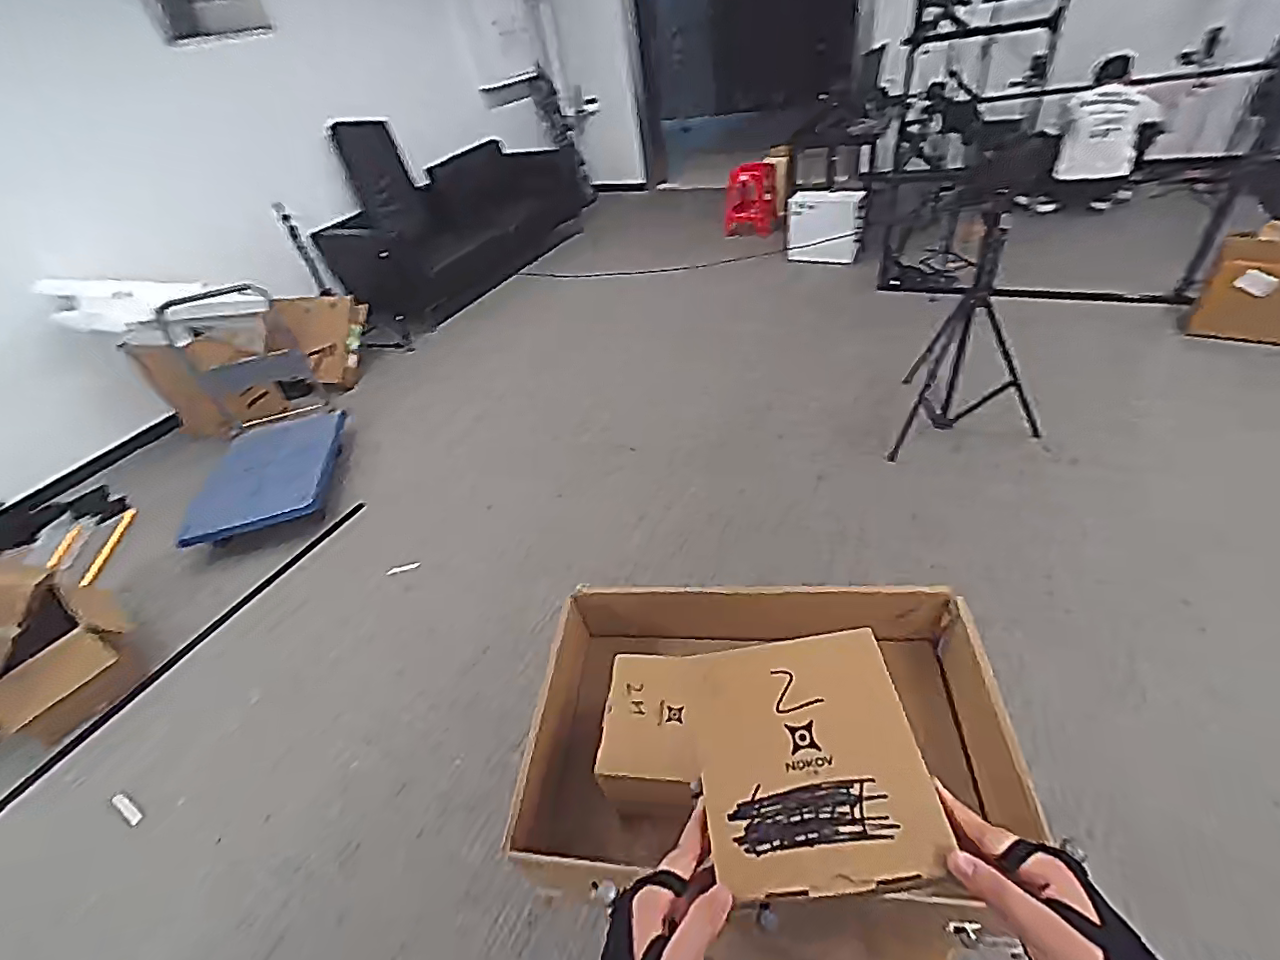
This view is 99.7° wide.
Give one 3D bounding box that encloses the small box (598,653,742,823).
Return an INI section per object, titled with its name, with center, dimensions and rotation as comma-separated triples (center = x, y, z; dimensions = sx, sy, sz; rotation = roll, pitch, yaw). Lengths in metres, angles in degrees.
[small box]
center = 0.055, 0.368, 0.770
dimensions = 0.179, 0.176, 0.168
rotation = -1, 42, 12
